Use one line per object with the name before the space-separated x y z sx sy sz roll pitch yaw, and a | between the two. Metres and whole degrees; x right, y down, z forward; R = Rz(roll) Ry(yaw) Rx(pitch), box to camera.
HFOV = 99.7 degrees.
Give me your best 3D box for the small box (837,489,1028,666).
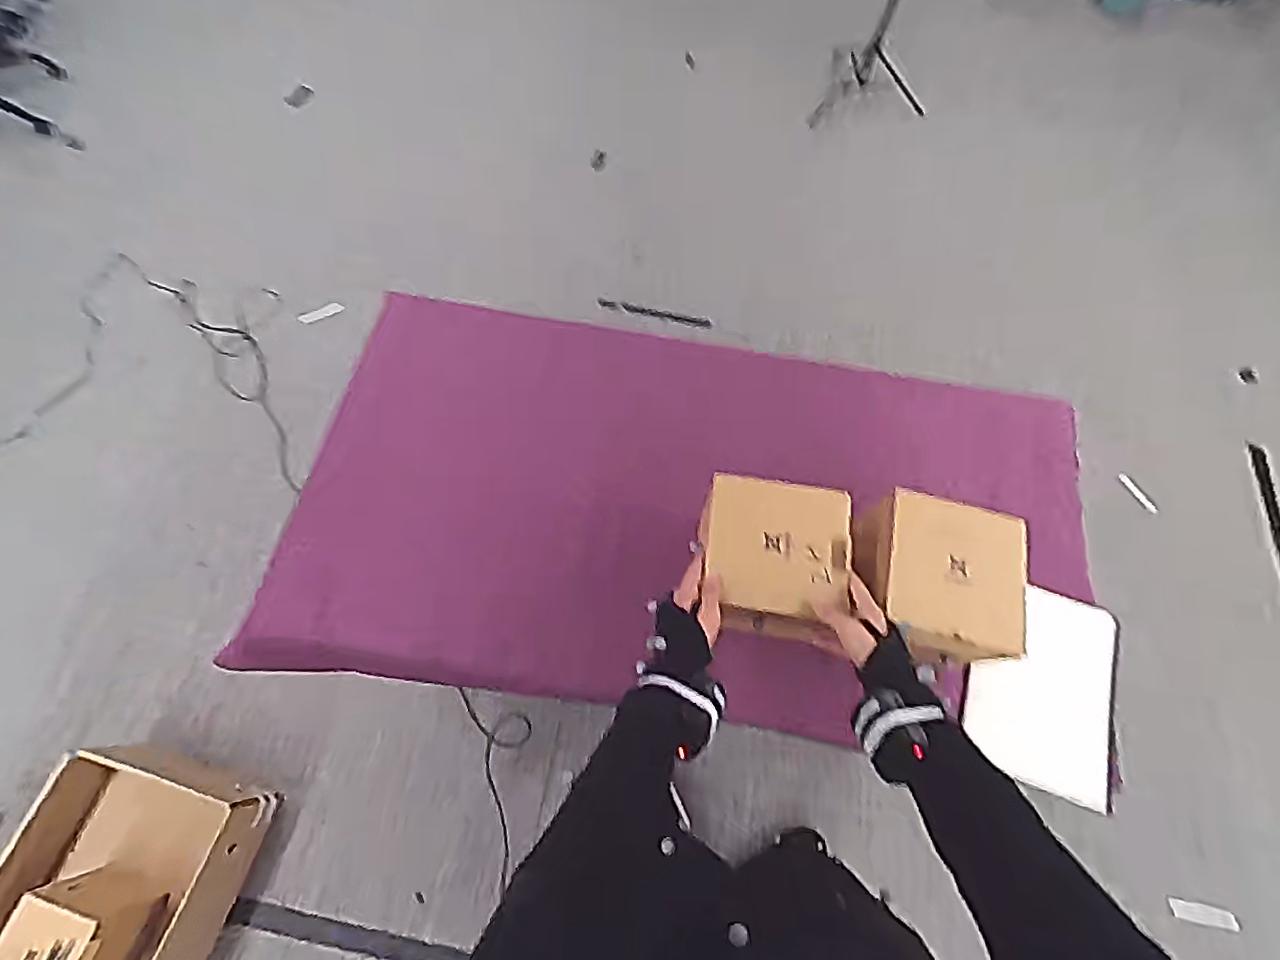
small box | 0.380 0.140 0.726 0.168 0.176 0.179 16 68 4
